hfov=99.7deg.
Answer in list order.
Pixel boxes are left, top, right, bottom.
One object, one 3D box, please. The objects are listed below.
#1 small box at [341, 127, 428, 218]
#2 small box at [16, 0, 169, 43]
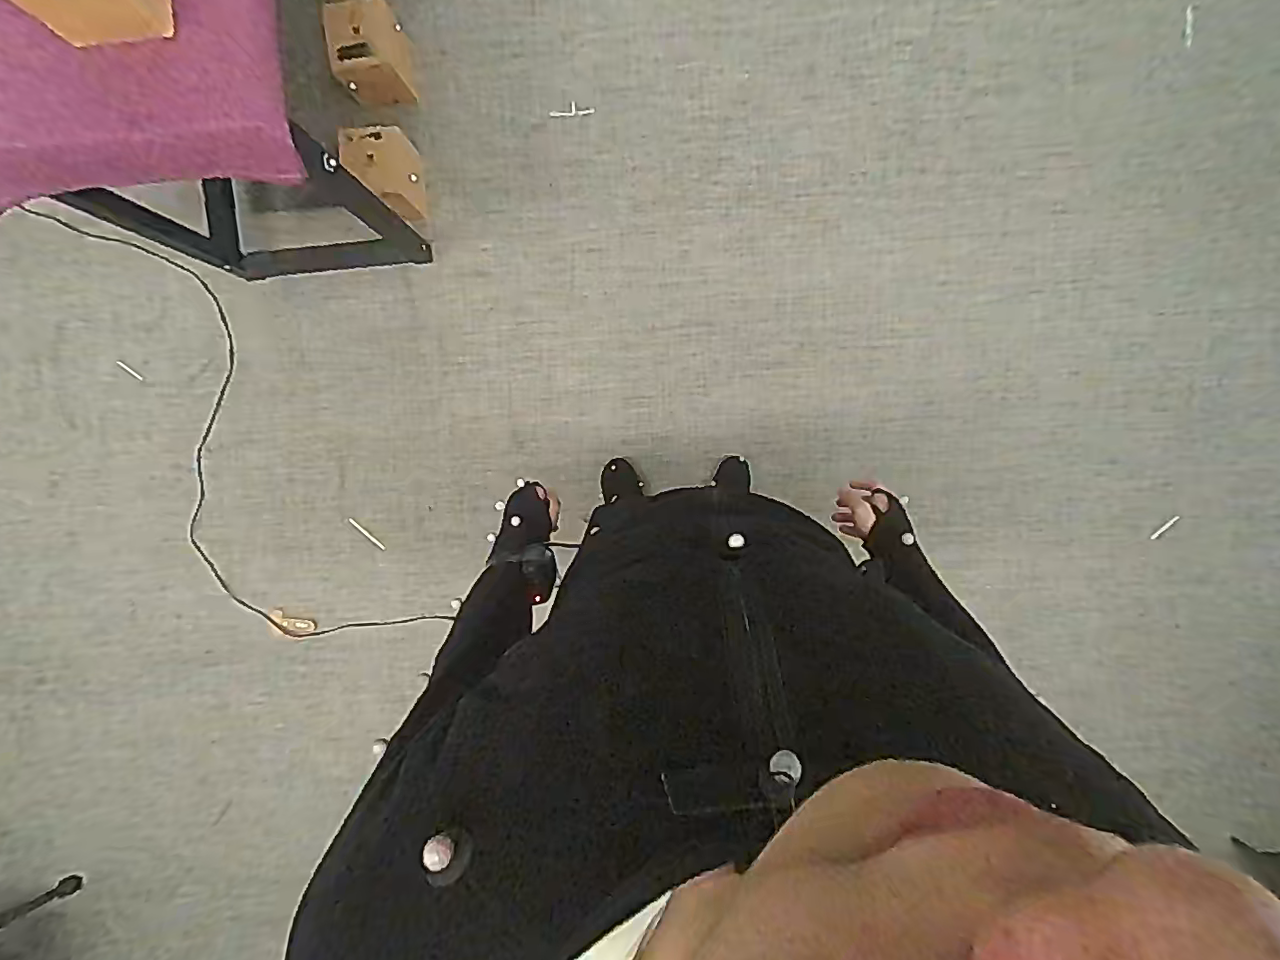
[{"bbox_3d":[-0.712,-0.856,1.524,0.168,0.176,0.179,-1,94,2],"label":"small box"},{"bbox_3d":[-0.851,-0.799,0.806,0.179,0.176,0.168,-3,93,3],"label":"small box"}]
